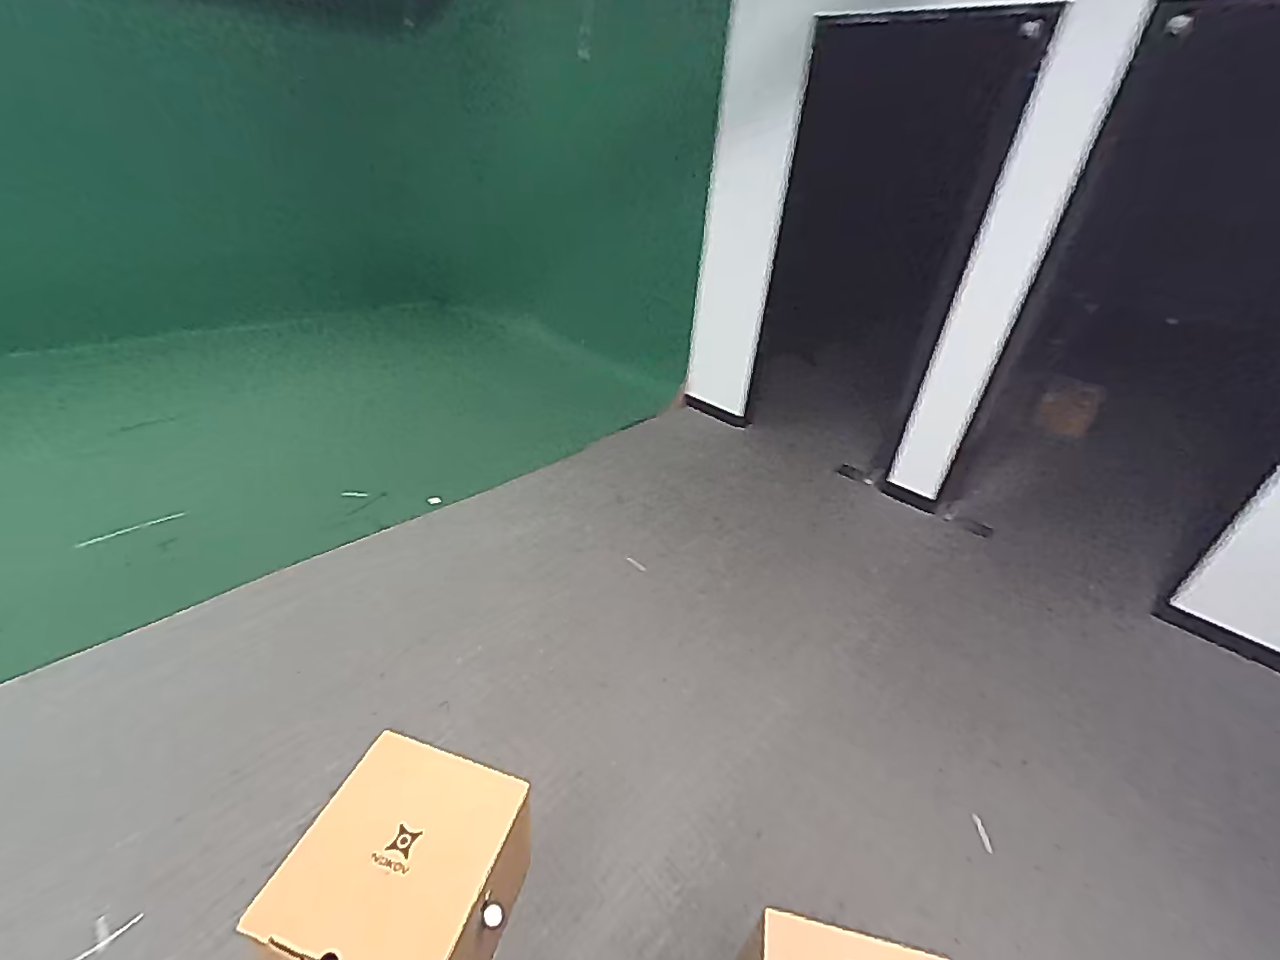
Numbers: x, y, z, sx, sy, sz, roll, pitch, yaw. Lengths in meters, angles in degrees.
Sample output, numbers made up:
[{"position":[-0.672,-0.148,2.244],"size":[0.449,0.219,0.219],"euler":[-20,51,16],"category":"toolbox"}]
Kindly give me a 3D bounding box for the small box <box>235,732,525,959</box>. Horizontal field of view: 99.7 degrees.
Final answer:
[{"position":[-0.222,0.387,0.512],"size":[0.168,0.176,0.179],"euler":[14,34,10],"category":"small box"}]
